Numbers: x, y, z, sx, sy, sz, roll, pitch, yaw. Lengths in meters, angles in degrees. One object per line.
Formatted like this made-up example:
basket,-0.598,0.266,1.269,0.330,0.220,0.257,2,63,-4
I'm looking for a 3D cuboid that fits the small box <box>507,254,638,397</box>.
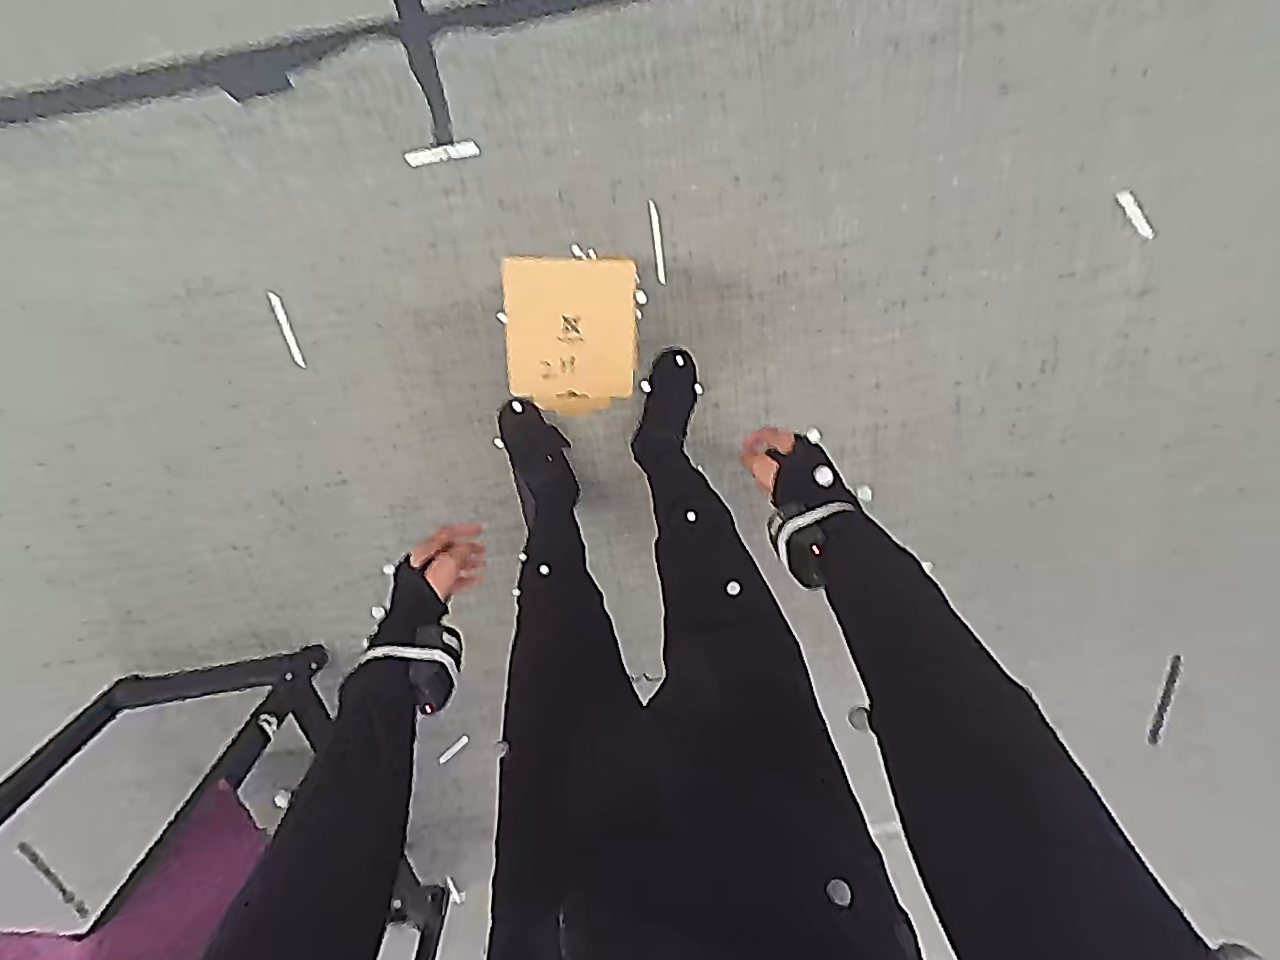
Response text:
small box,-0.093,-0.225,0.772,0.168,0.176,0.179,1,113,-4
